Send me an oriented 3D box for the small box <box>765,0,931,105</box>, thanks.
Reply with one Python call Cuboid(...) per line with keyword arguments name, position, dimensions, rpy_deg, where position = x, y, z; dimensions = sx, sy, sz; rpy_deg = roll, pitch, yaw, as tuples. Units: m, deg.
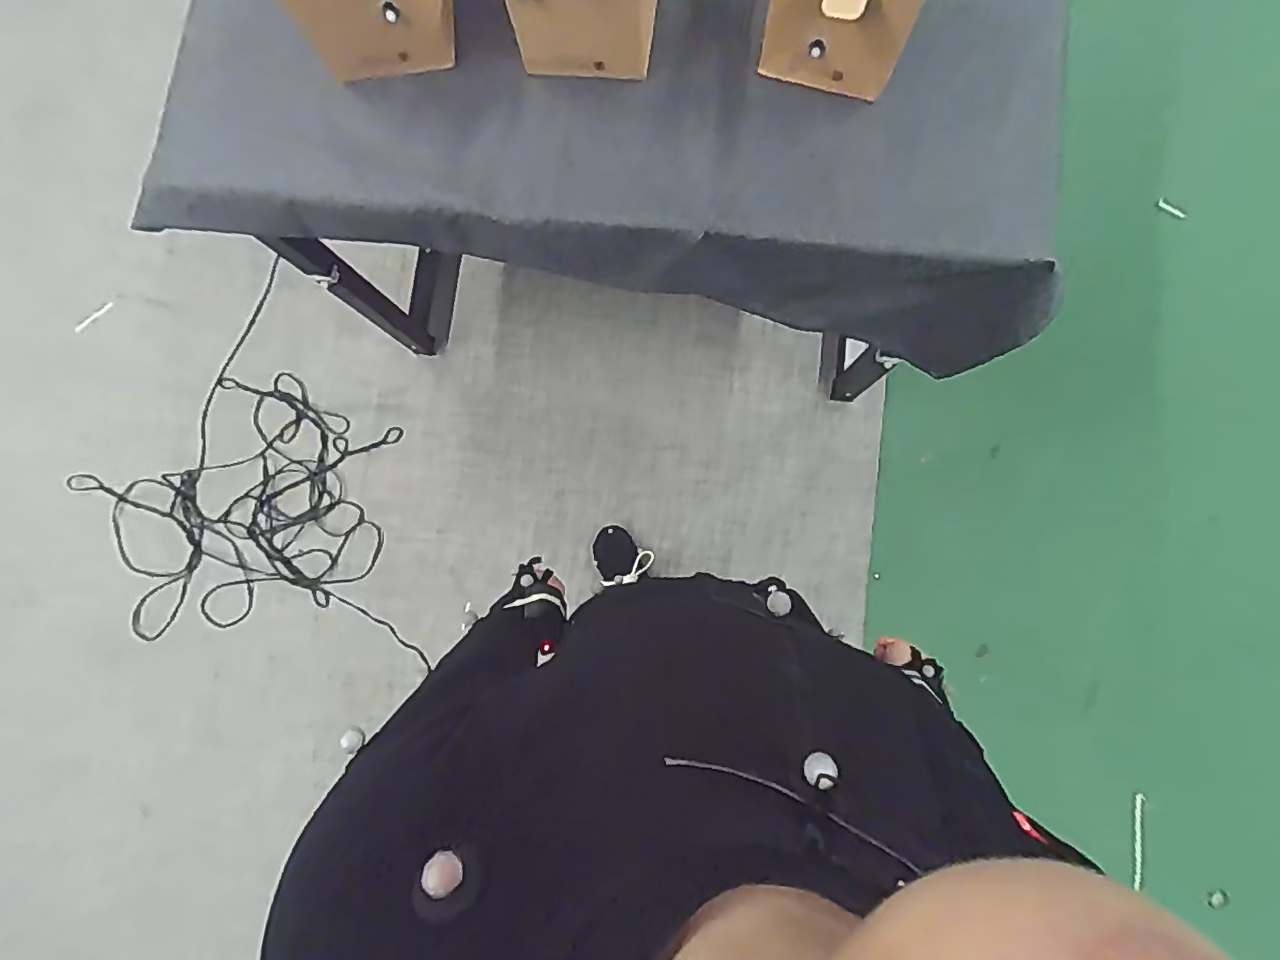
Cuboid(name="small box", position=(0.259, -0.605, 0.645), dimensions=(0.168, 0.176, 0.179), rpy_deg=(18, 85, 5))
